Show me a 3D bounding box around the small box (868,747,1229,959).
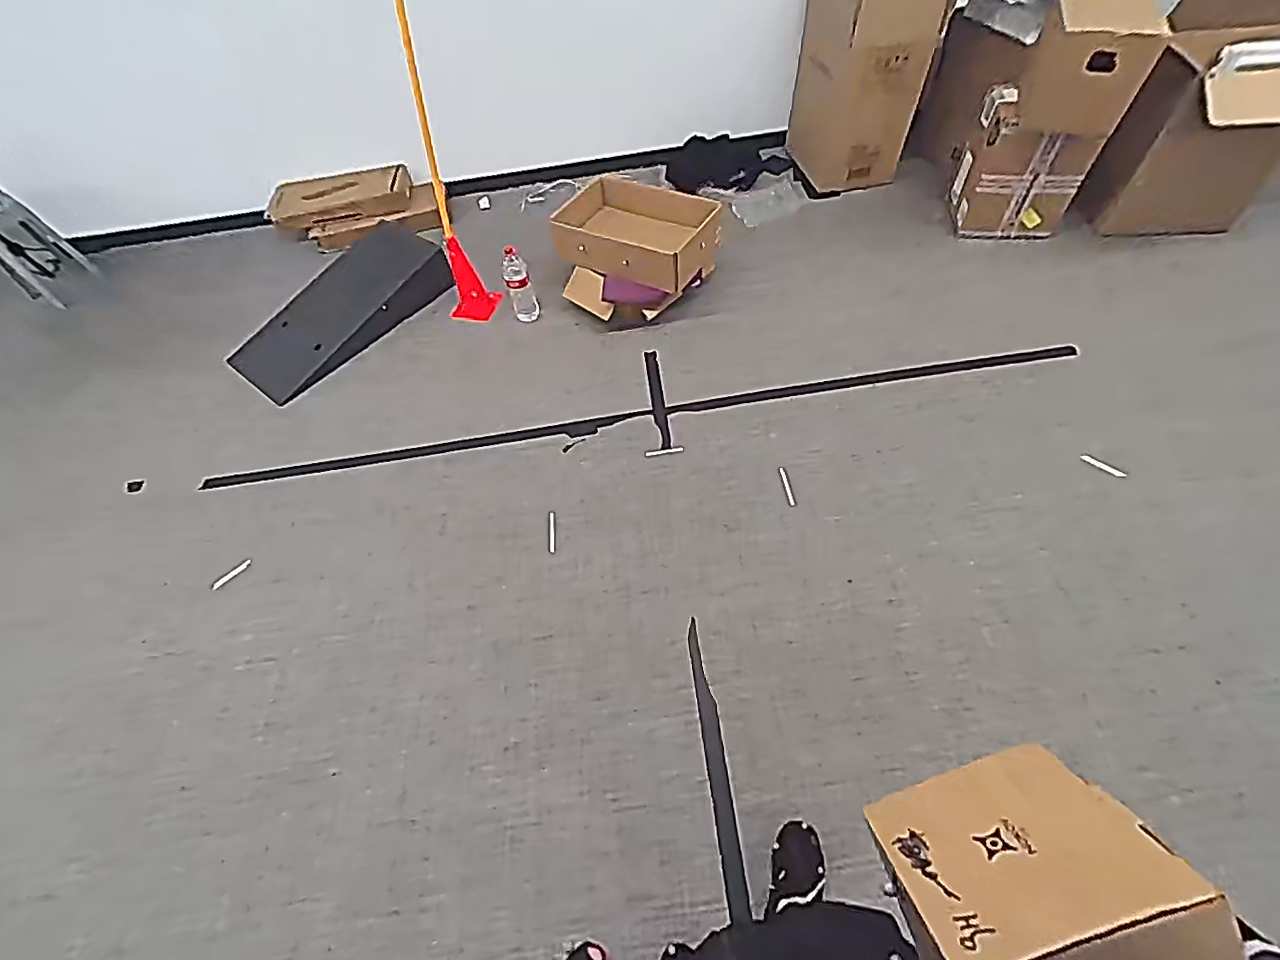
[{"bbox_3d":[0.324,0.365,0.441,0.179,0.168,0.176,-21,94,3],"label":"small box"}]
